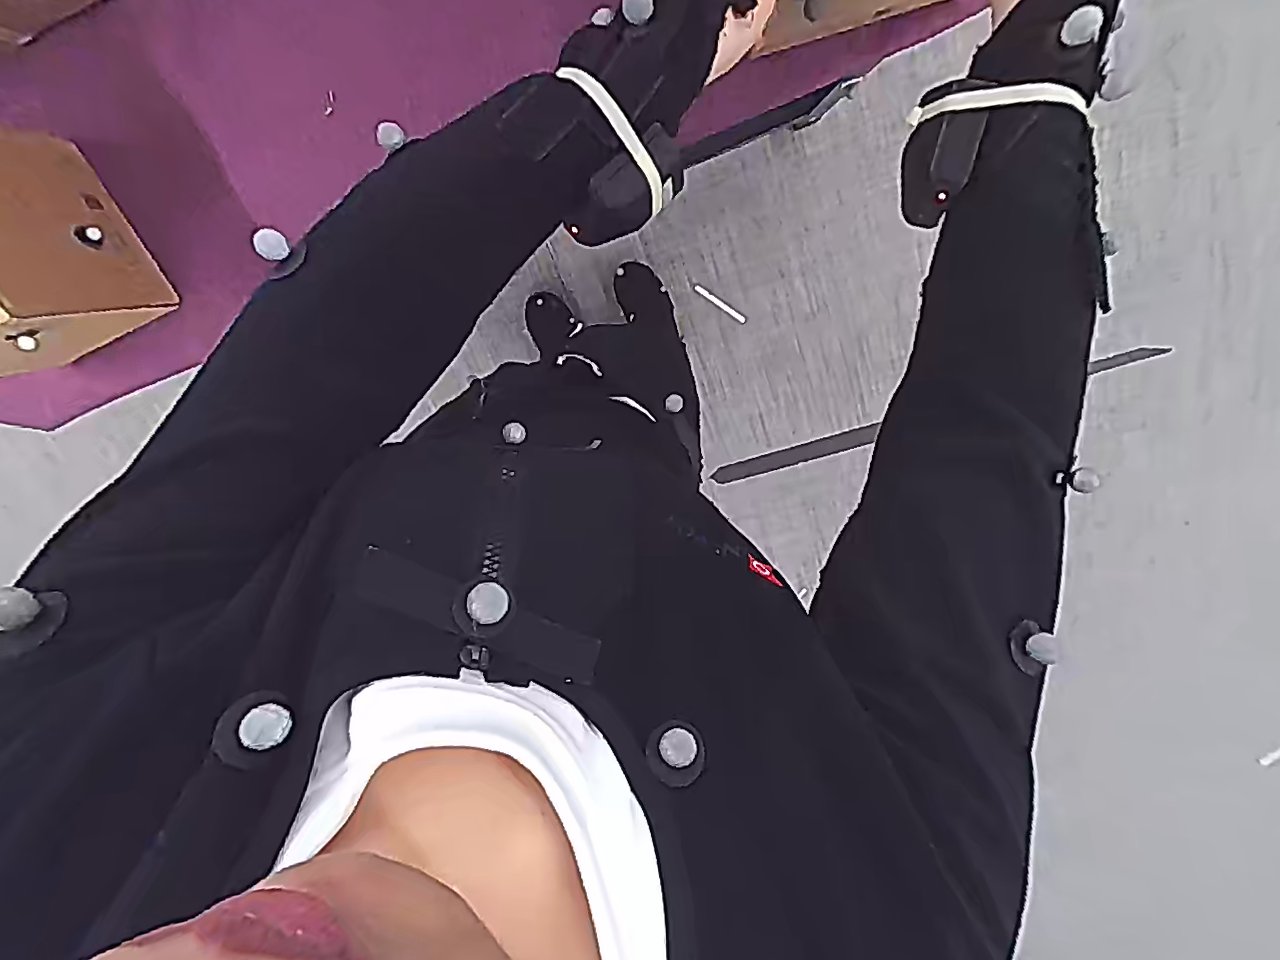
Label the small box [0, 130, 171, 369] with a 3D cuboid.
[{"bbox_3d":[-0.607,-0.203,0.497,0.179,0.176,0.168,-21,110,9],"label":"small box"}]
